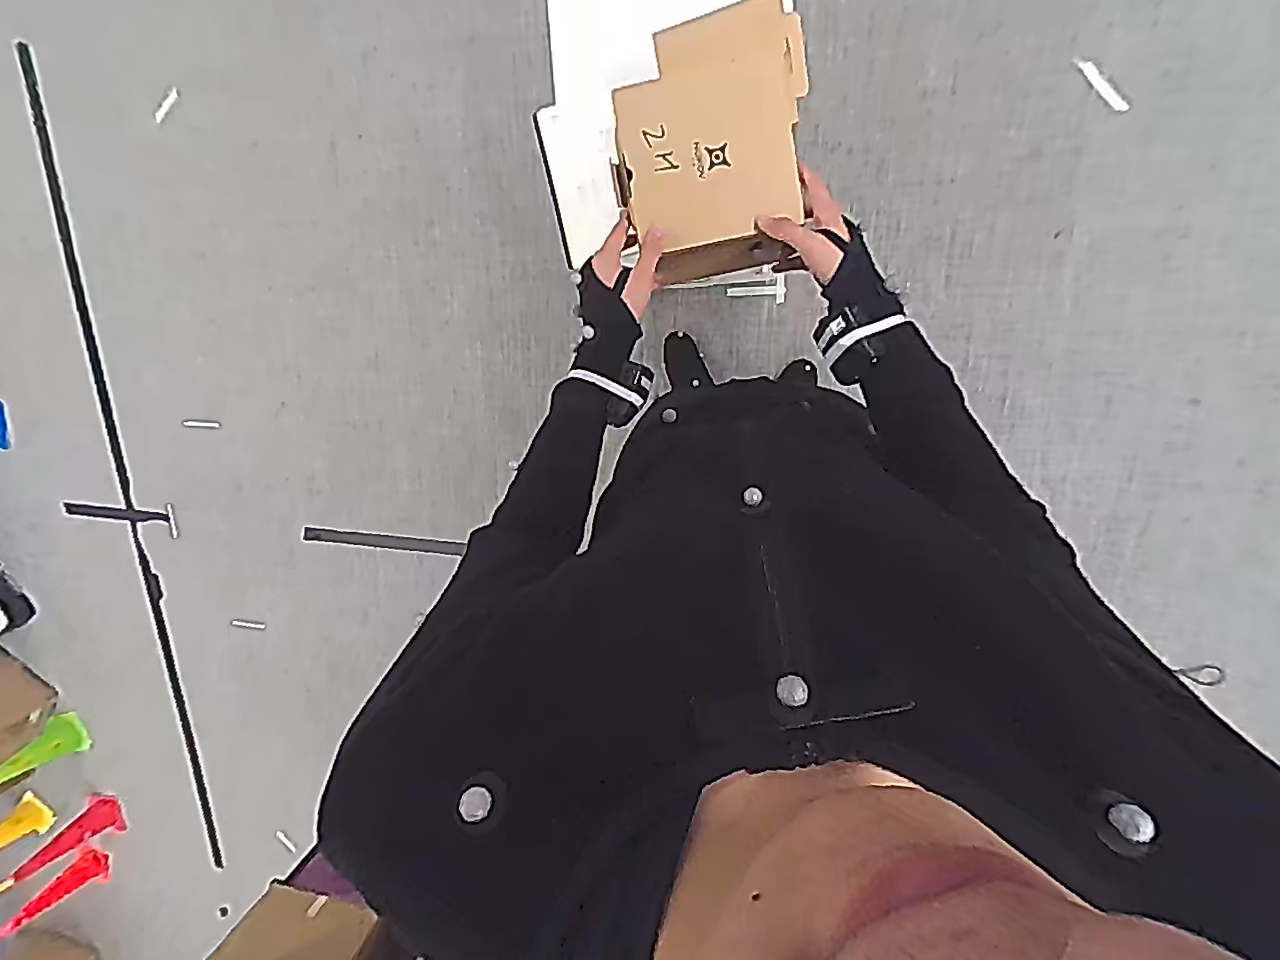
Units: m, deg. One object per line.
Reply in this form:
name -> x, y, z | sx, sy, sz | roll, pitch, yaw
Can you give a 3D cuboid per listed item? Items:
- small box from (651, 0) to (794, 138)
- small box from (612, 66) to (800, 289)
small box -> 0.127, -0.565, 0.815 | 0.179, 0.176, 0.168 | -9, 101, 14
small box -> 0.072, -0.335, 0.636 | 0.179, 0.176, 0.168 | -10, 99, 5
